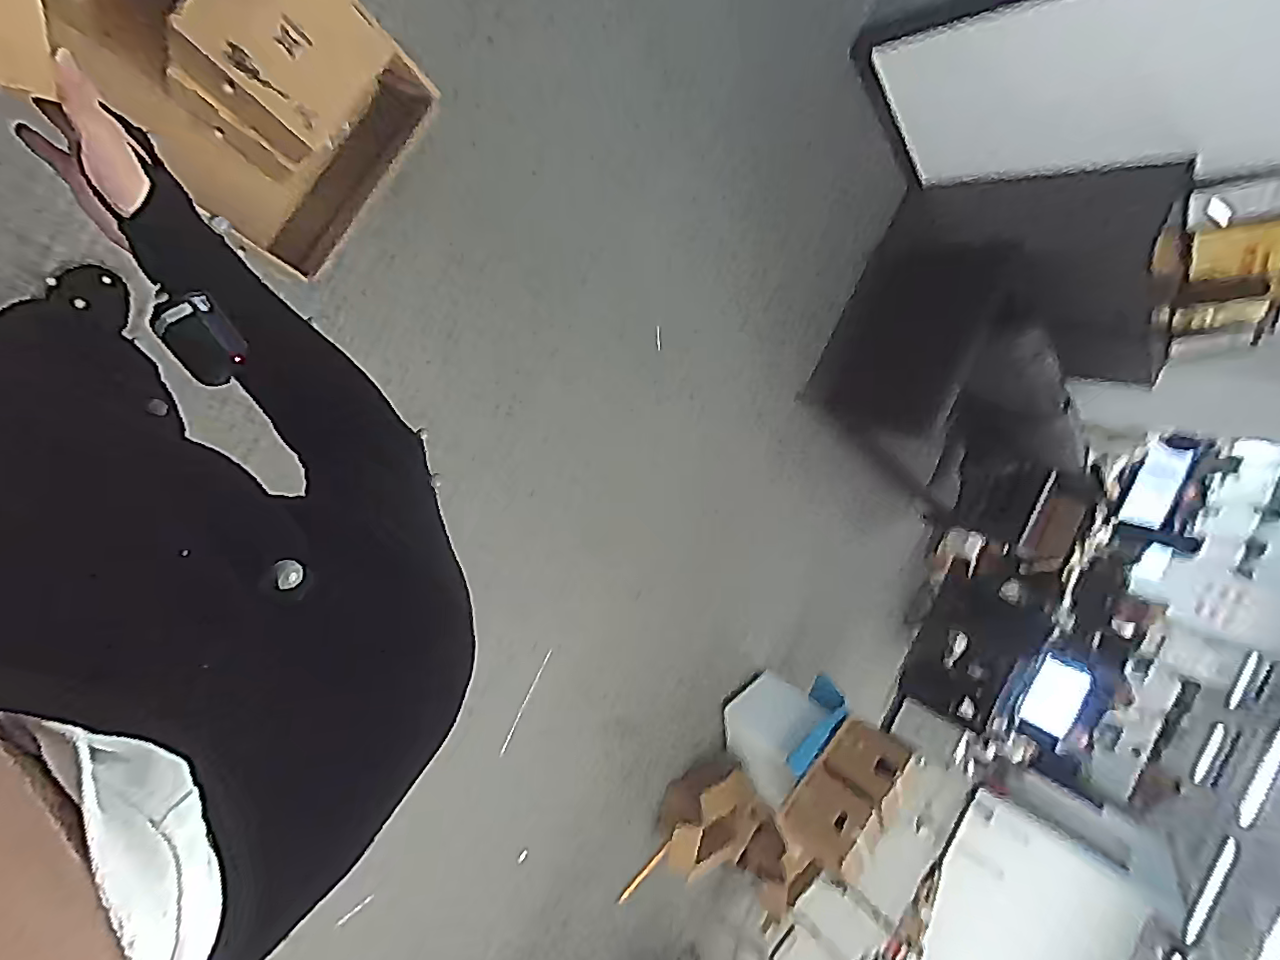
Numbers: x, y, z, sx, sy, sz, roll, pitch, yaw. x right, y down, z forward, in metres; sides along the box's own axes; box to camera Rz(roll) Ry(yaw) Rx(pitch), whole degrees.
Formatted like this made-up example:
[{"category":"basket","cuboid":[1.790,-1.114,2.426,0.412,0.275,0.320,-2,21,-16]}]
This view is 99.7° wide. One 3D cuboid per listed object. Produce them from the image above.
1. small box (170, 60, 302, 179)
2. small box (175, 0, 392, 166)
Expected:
[{"category":"small box","cuboid":[-0.577,-0.593,0.824,0.168,0.176,0.179,37,84,-45]},{"category":"small box","cuboid":[-0.469,-0.548,0.708,0.168,0.176,0.179,39,81,-44]}]
